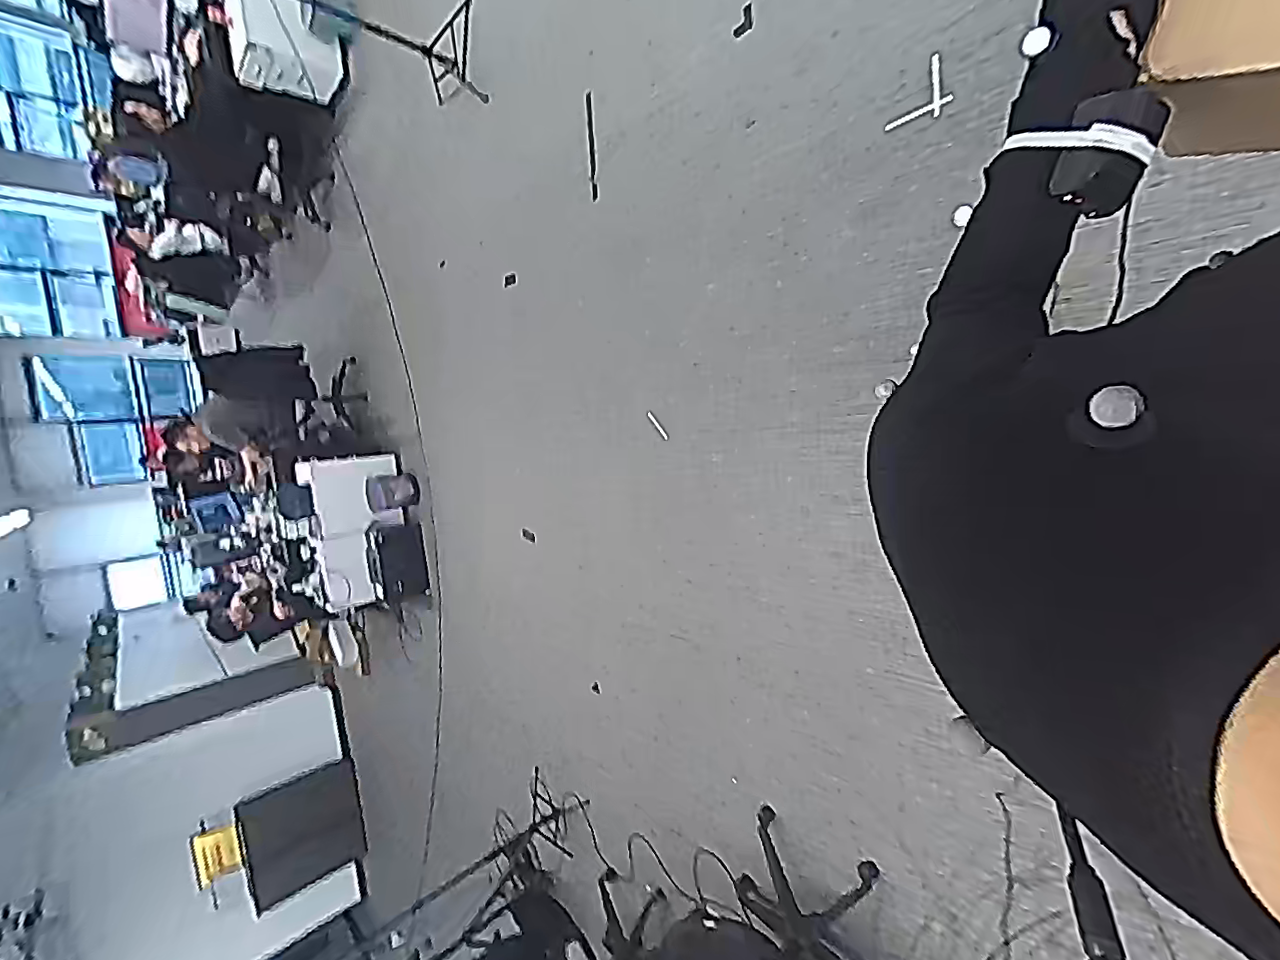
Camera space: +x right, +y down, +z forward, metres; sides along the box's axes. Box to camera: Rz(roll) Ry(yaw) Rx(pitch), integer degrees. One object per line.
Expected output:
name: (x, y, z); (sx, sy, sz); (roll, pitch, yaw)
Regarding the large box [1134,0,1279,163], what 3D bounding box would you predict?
large box: (0.597, -0.397, 0.302); (0.408, 0.320, 0.320); (22, 119, 41)
